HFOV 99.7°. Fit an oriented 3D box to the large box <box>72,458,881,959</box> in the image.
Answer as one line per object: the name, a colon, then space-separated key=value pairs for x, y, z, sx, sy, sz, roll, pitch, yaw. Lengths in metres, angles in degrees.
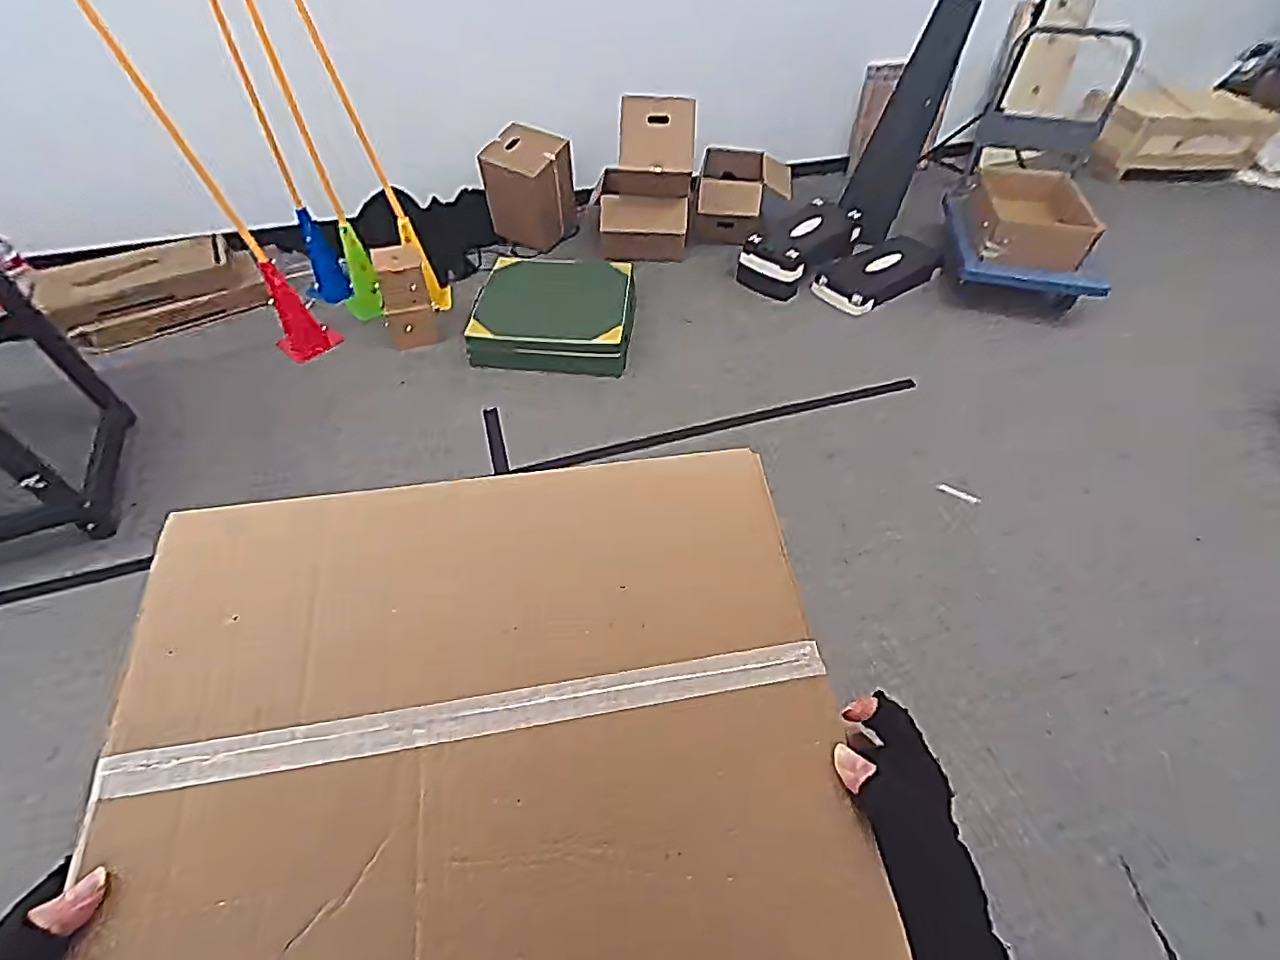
large box: x=-0.098 y=0.210 z=0.454 sx=0.408 sy=0.320 sz=0.320 roll=-7 pitch=62 yaw=-7
